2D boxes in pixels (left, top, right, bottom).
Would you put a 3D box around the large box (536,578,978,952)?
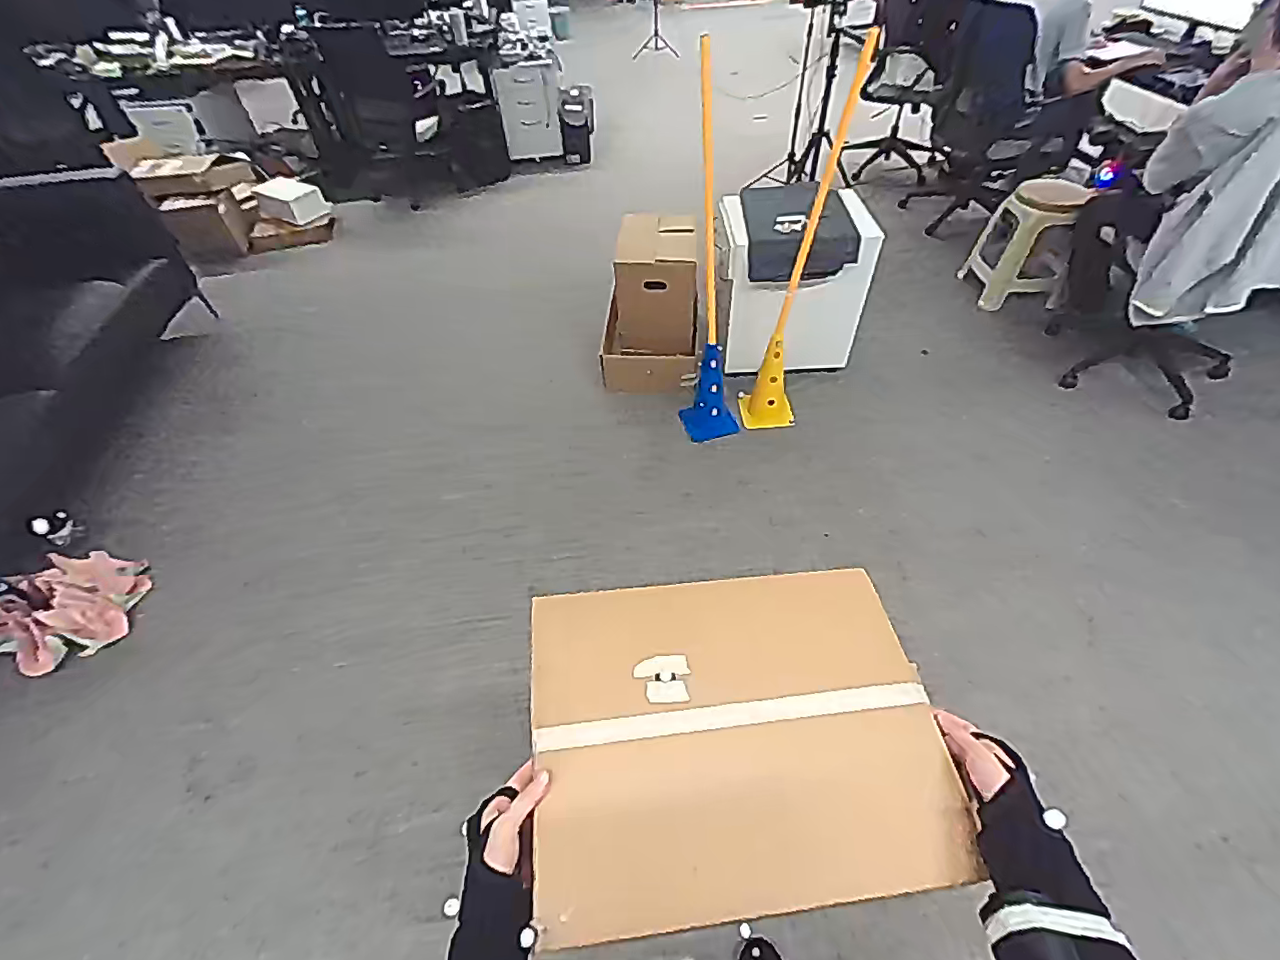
[{"bbox_3d":[0.091,0.347,0.675,0.408,0.320,0.320,-4,51,-5],"label":"large box"}]
